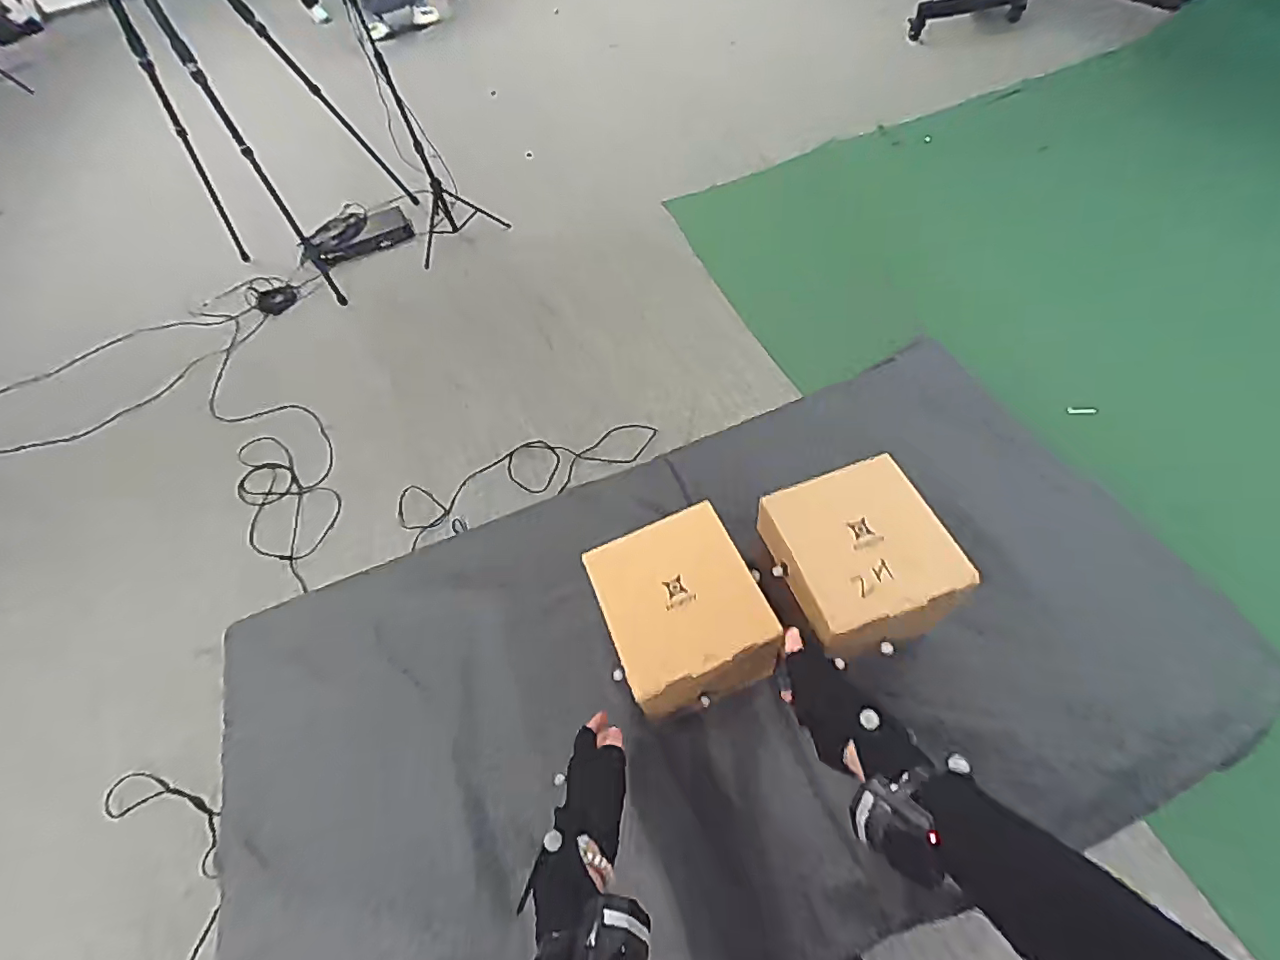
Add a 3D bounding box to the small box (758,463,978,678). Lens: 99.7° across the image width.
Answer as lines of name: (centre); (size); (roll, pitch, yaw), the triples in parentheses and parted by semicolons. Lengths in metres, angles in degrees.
small box: (0.252, 0.114, 0.655); (0.168, 0.176, 0.179); (-19, 57, -3)
